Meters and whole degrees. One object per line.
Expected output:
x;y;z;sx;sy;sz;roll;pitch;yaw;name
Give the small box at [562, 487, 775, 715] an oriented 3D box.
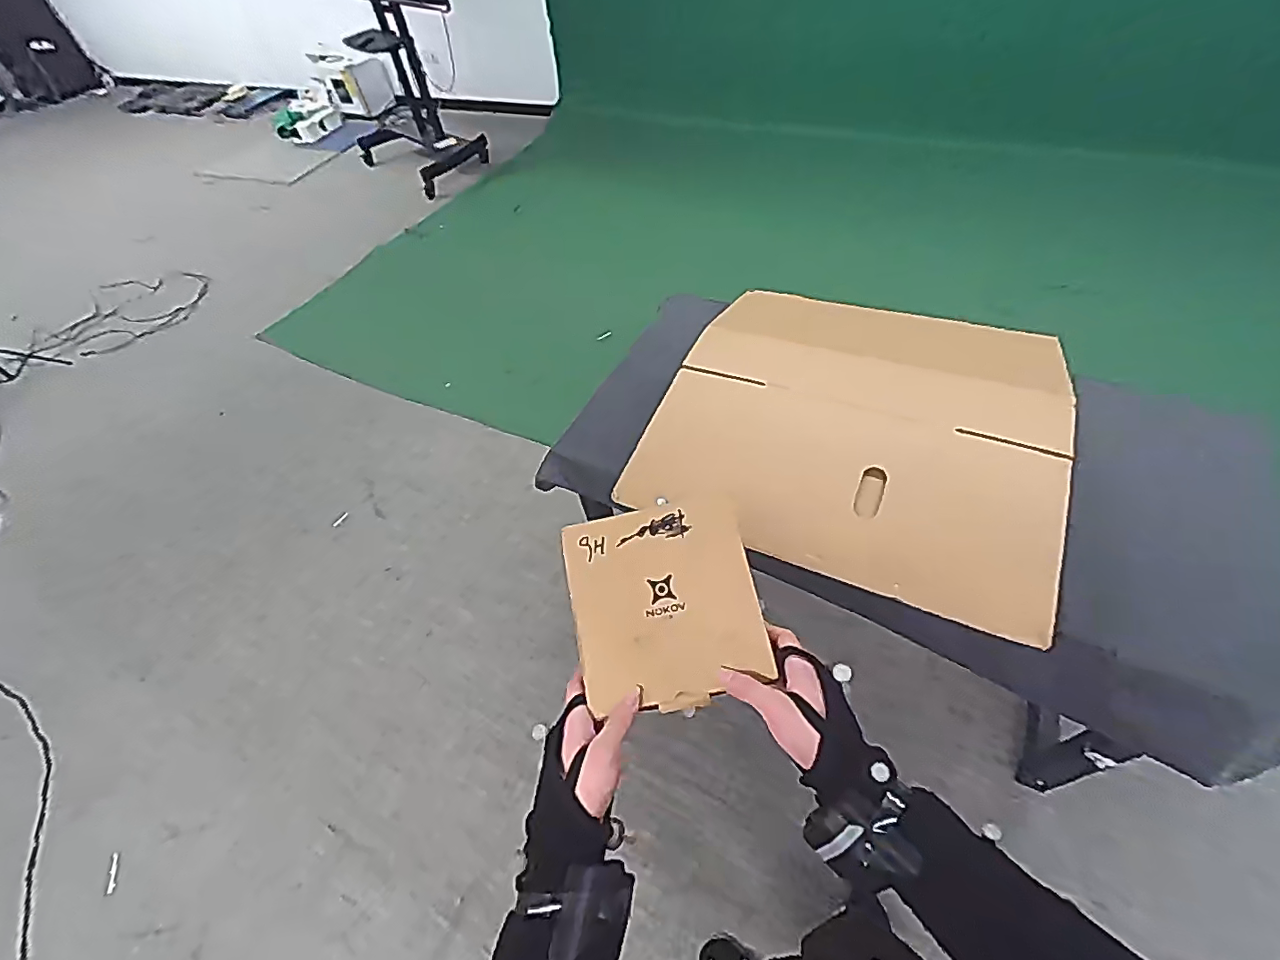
0.032;0.131;0.567;0.168;0.176;0.179;-15;68;2;small box
